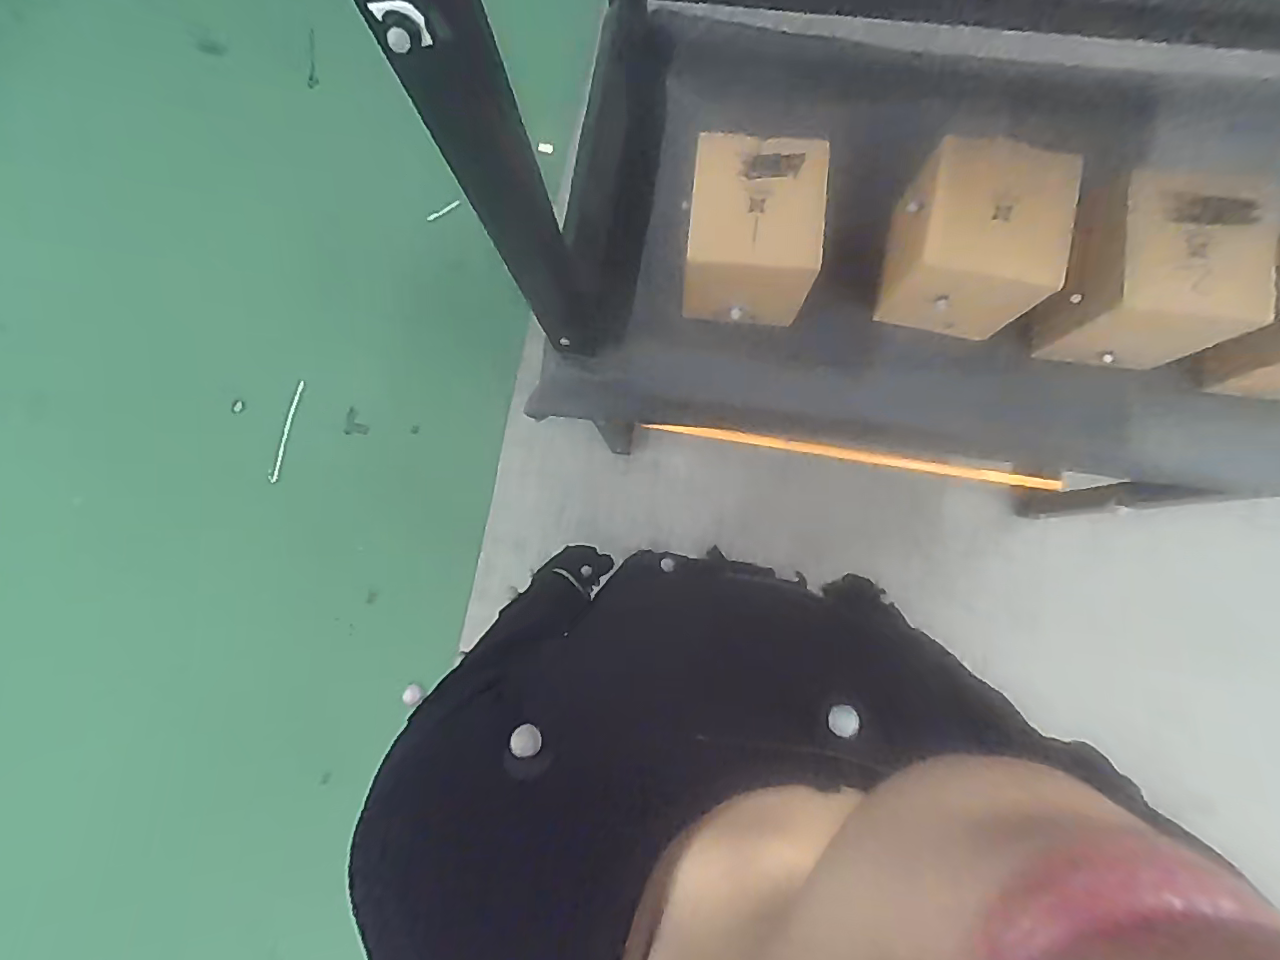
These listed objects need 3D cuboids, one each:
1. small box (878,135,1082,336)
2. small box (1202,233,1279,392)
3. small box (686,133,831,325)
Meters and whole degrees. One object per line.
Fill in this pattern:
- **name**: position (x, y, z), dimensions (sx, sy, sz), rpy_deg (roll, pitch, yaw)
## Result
- **small box**: position (0.442, -0.316, 0.731), dimensions (0.168, 0.176, 0.179), rpy_deg (13, 83, 5)
- **small box**: position (0.876, -0.214, 0.686), dimensions (0.168, 0.176, 0.179), rpy_deg (7, 82, 4)
- **small box**: position (0.154, -0.336, 0.749), dimensions (0.168, 0.176, 0.179), rpy_deg (6, 83, 4)
